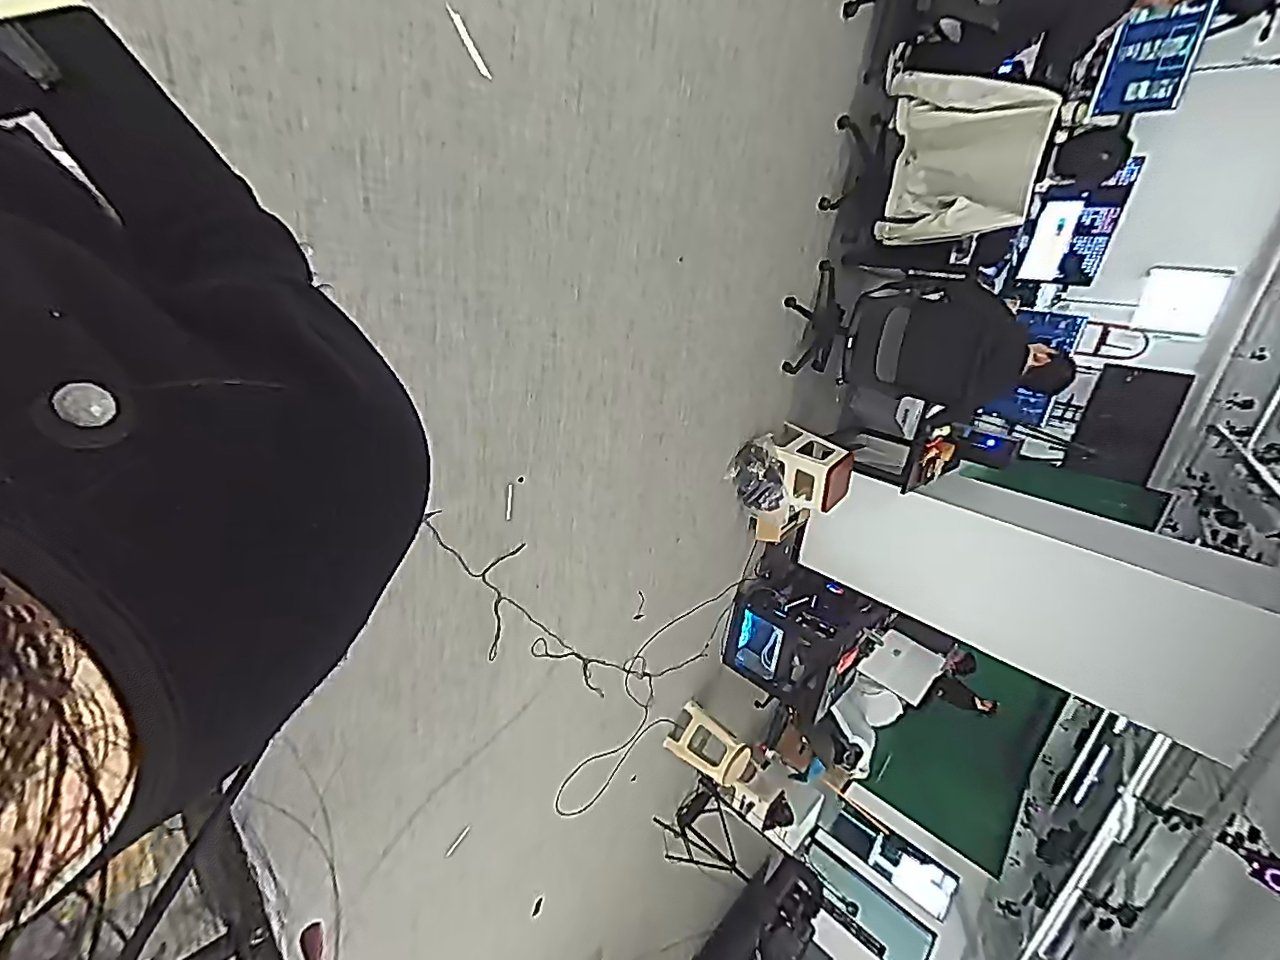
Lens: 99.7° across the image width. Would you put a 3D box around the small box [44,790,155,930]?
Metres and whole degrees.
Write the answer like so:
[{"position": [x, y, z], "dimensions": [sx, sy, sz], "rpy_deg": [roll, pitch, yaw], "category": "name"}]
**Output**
[{"position": [-1.282, 0.891, 1.285], "dimensions": [0.168, 0.176, 0.179], "rpy_deg": [-11, 119, -47], "category": "small box"}]
